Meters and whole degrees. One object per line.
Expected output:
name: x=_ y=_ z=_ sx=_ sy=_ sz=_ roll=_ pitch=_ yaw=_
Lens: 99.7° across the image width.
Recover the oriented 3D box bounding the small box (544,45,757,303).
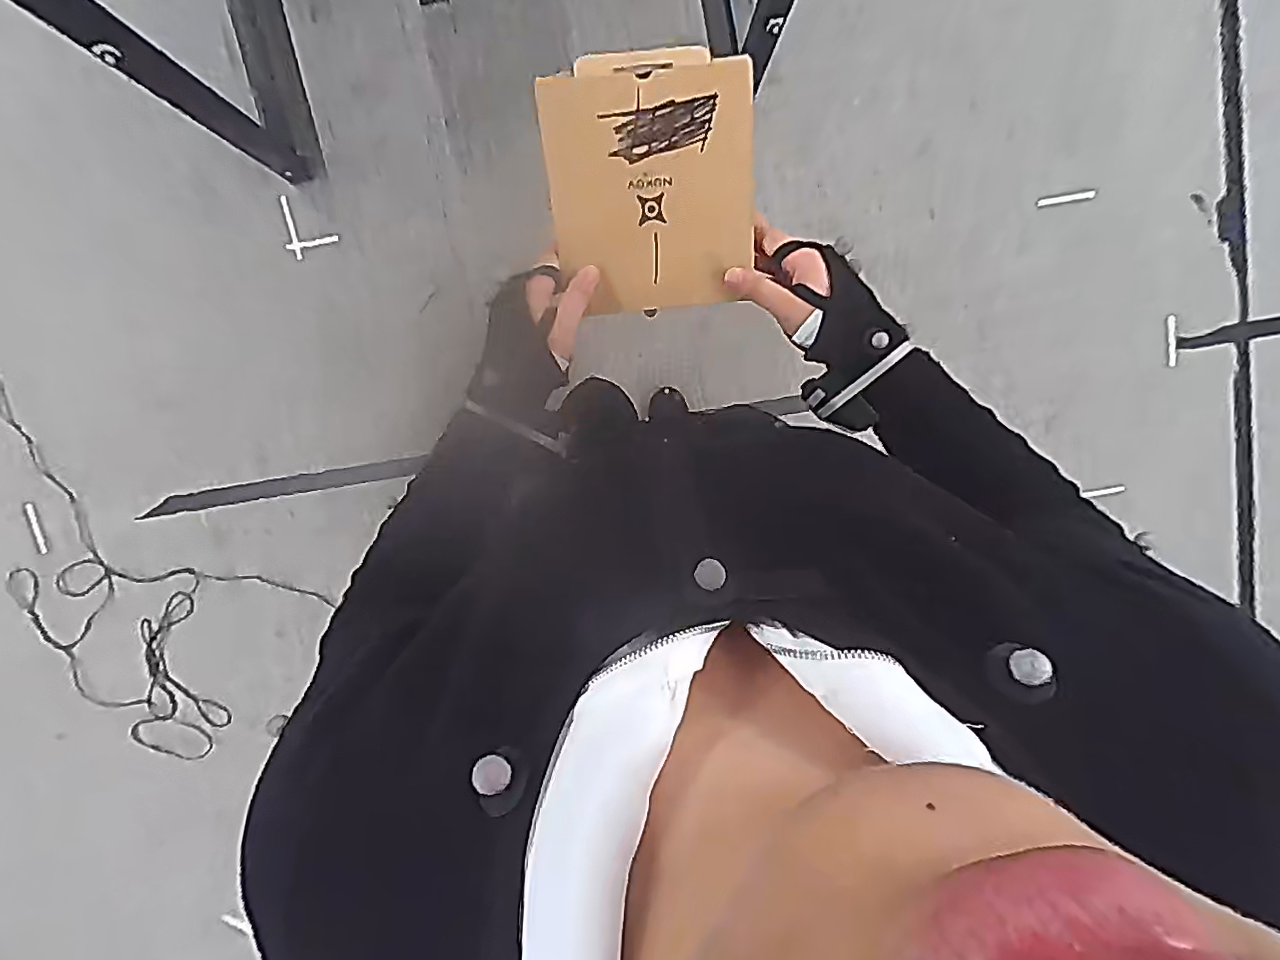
small box: x=0.011 y=-0.269 z=0.510 sx=0.168 sy=0.176 sz=0.179 roll=-5 pitch=113 yaw=2
